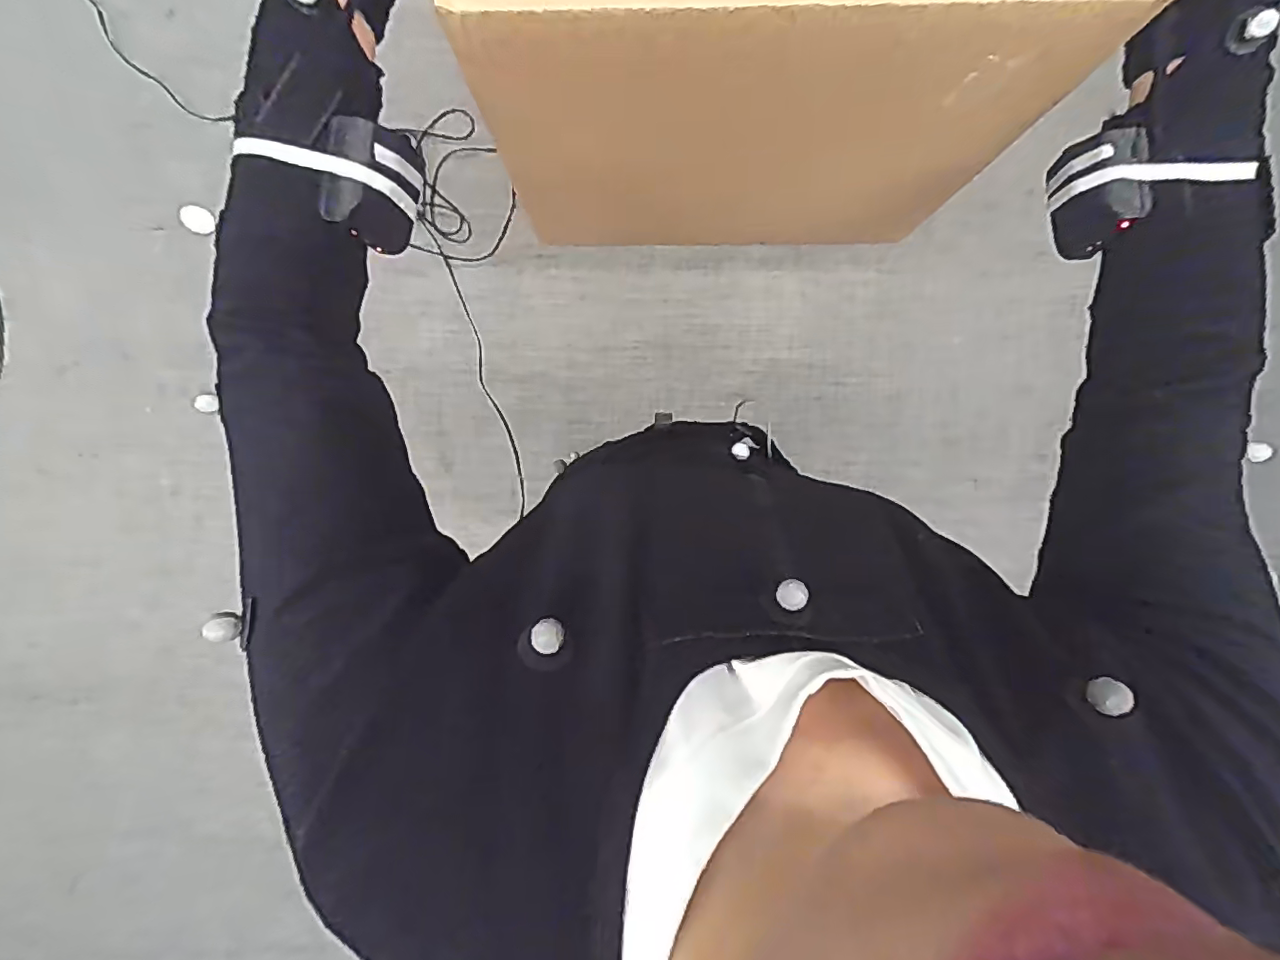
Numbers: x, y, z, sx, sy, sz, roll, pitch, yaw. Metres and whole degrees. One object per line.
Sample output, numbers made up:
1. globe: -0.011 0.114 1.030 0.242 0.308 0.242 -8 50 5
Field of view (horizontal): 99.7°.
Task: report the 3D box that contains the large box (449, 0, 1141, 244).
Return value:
1. large box: 0.084 -0.416 0.448 0.408 0.320 0.320 -1 91 0
